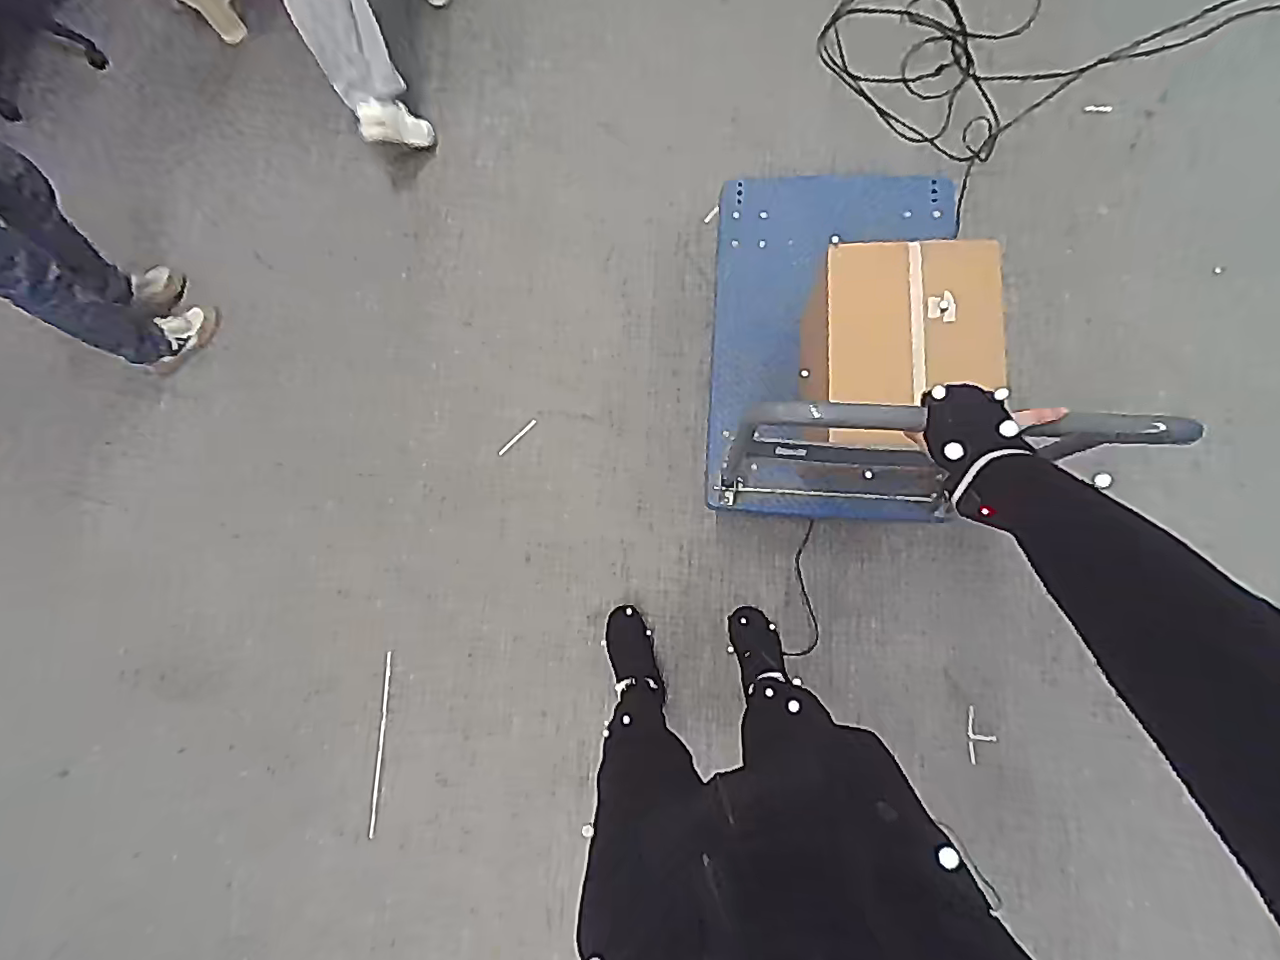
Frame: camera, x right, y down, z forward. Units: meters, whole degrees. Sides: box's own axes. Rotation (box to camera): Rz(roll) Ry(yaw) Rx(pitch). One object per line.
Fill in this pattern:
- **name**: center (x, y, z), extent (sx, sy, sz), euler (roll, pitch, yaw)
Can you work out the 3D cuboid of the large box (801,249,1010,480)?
- **large box**: center (0.527, -0.219, 1.150), extent (0.320, 0.320, 0.408), euler (2, 80, 6)
